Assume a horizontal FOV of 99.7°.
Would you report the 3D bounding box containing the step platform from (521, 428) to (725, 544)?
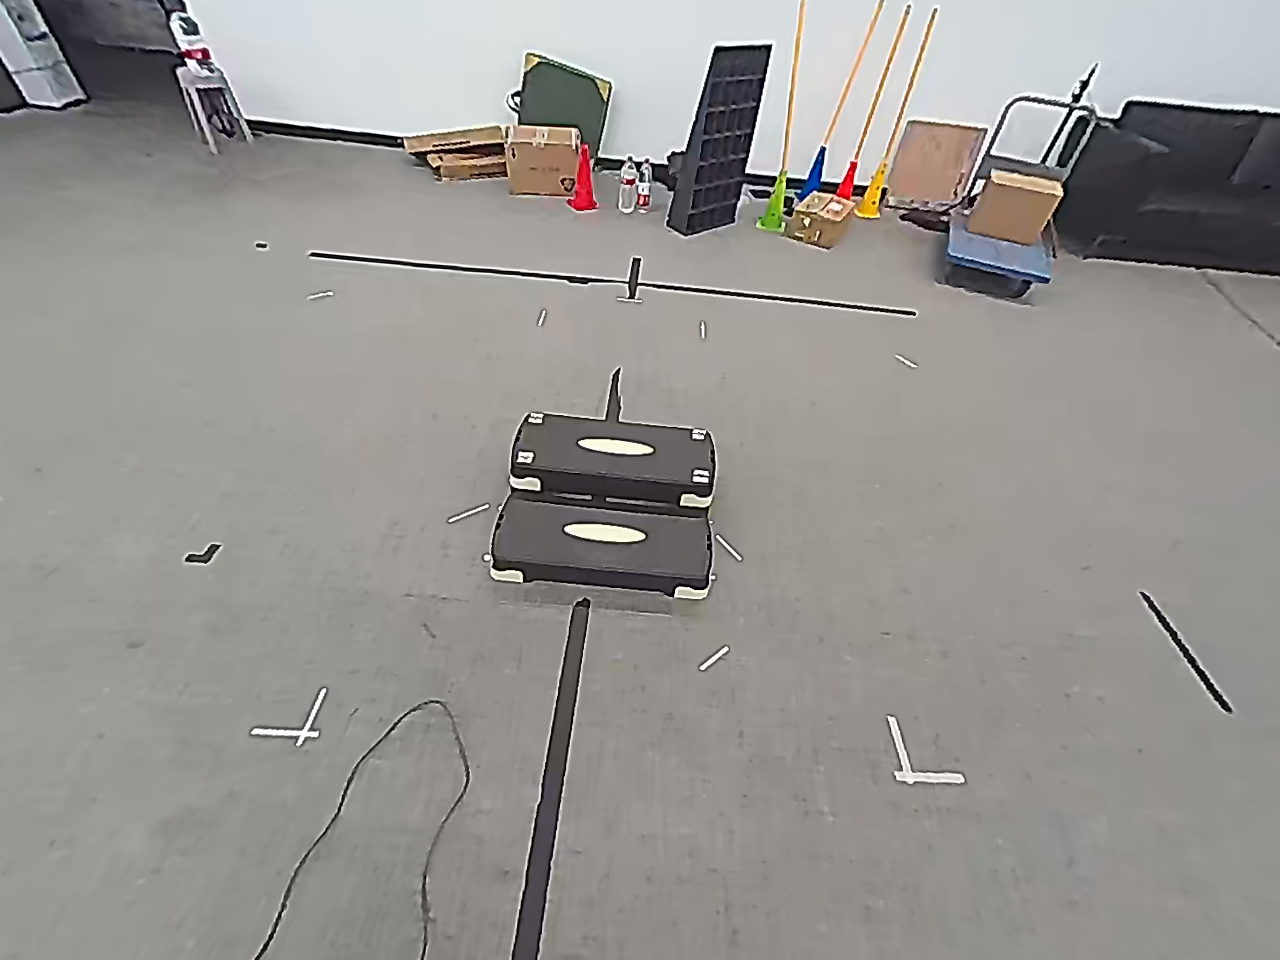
[{"bbox_3d":[-0.053,0.014,1.859,0.684,0.204,0.286,9,44,2],"label":"step platform"}]
